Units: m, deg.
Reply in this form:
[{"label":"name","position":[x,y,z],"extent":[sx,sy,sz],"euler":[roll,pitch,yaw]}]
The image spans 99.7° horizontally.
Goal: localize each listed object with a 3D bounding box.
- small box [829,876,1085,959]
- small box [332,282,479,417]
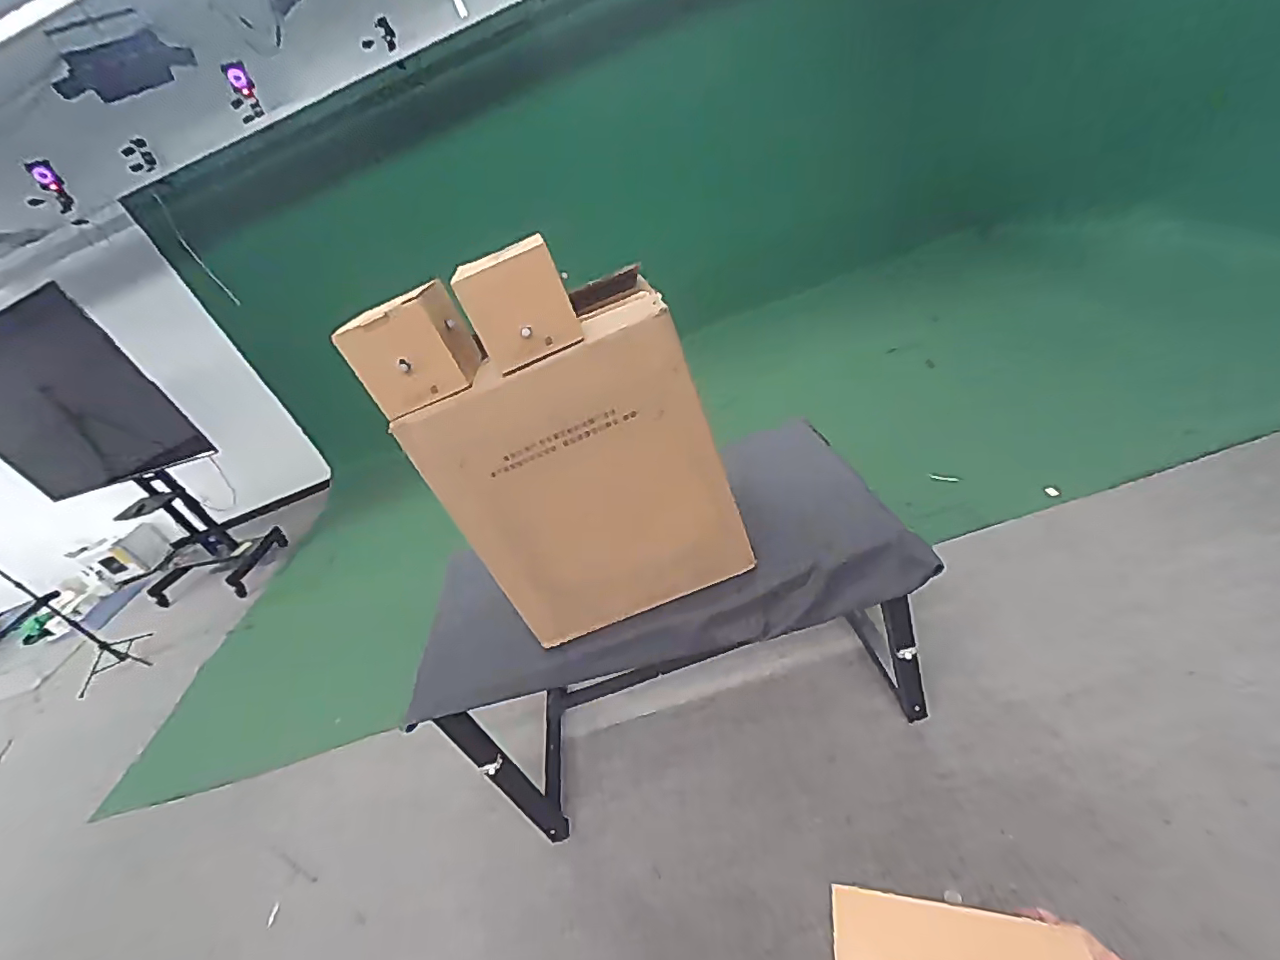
[{"label":"small box","position":[0.239,0.427,0.411],"extent":[0.168,0.176,0.179],"euler":[-5,50,20]},{"label":"small box","position":[-0.416,-0.237,0.996],"extent":[0.168,0.176,0.179],"euler":[-22,31,5]}]
